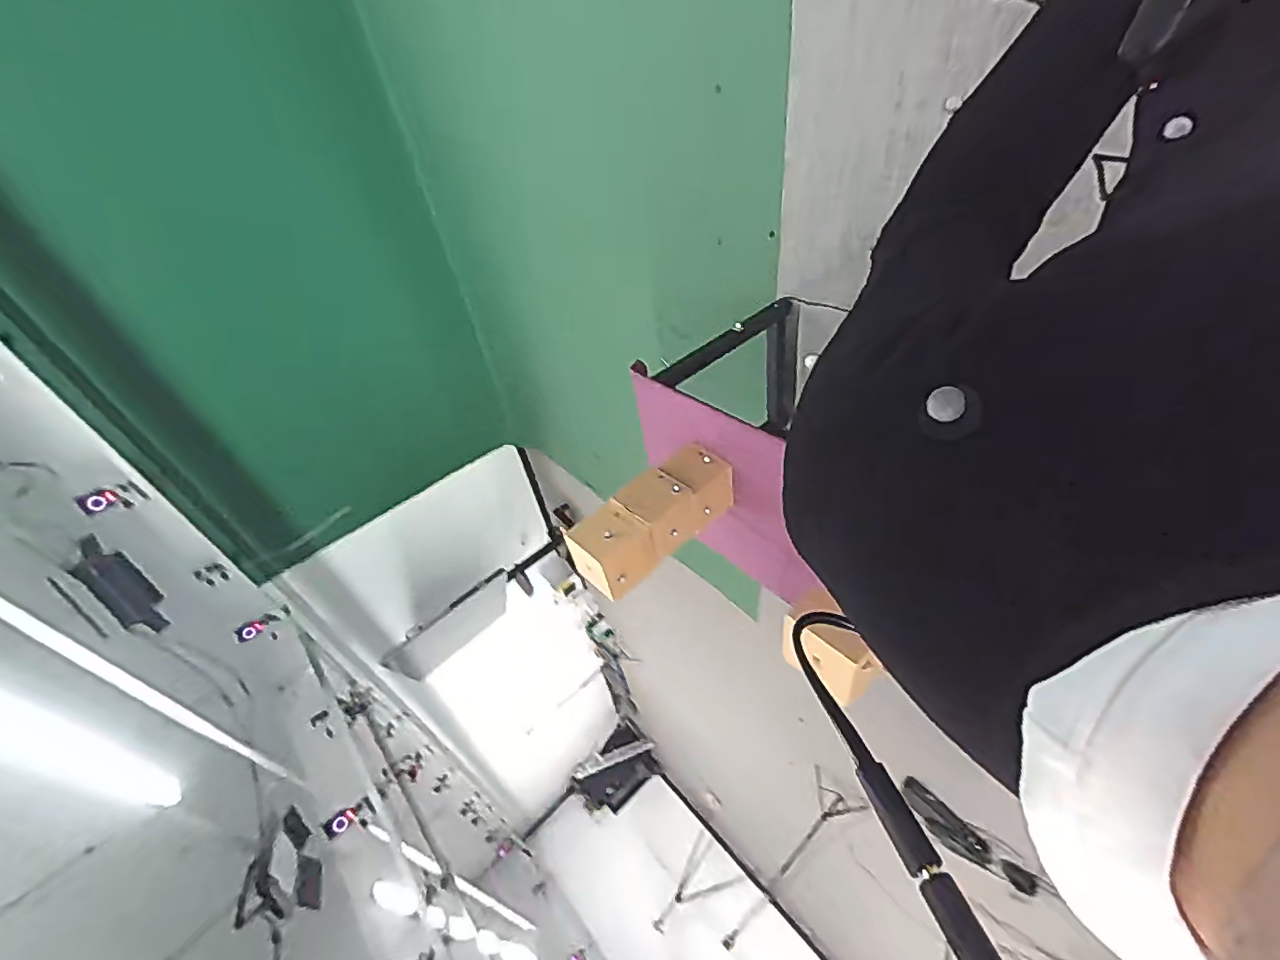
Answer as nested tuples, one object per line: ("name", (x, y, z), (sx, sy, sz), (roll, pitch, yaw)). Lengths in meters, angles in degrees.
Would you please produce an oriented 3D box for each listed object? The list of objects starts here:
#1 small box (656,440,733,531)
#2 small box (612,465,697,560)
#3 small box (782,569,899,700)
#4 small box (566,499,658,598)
("small box", (0.168, 0.013, 1.632), (0.168, 0.176, 0.179), (34, 149, 35))
("small box", (0.046, 0.088, 1.550), (0.168, 0.176, 0.179), (33, 150, 37))
("small box", (0.428, 0.324, 1.159), (0.168, 0.176, 0.179), (35, 148, 38))
("small box", (-0.071, 0.183, 1.491), (0.168, 0.176, 0.179), (31, 149, 38))
